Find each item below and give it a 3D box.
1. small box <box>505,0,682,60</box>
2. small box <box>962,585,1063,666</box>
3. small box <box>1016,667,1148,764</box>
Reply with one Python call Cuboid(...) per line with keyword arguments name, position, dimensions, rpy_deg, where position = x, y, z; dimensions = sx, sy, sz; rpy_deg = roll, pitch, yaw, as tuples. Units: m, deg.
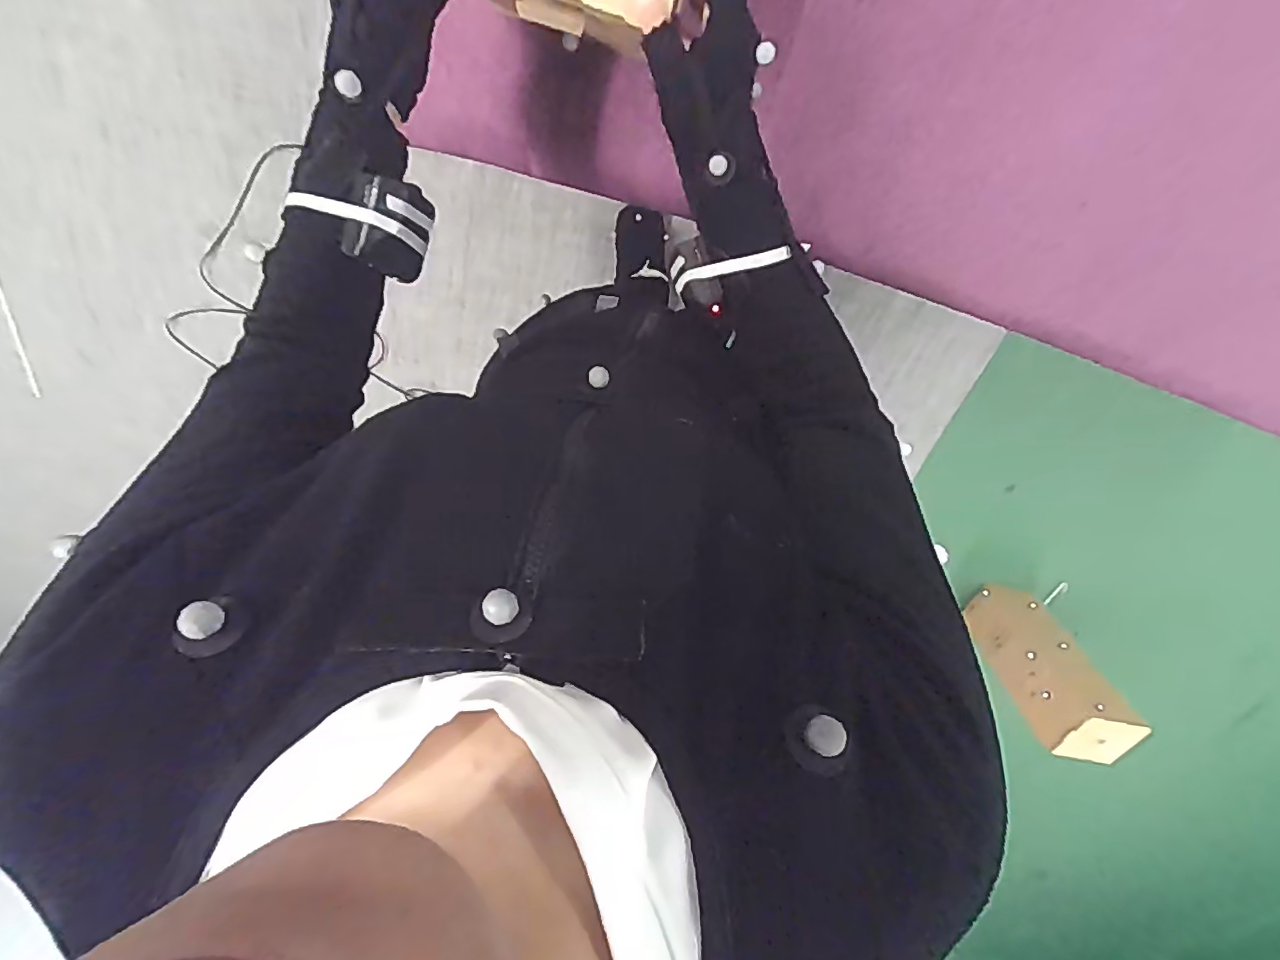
Cuboid(name="small box", position=(-0.033, -0.450, 0.399), dimensions=(0.168, 0.176, 0.179), rpy_deg=(15, 121, -6))
Cuboid(name="small box", position=(1.186, 0.461, 1.739), dimensions=(0.179, 0.176, 0.168), rpy_deg=(15, 121, -7))
Cuboid(name="small box", position=(1.179, 0.631, 1.459), dimensions=(0.179, 0.176, 0.168), rpy_deg=(12, 122, -5))
